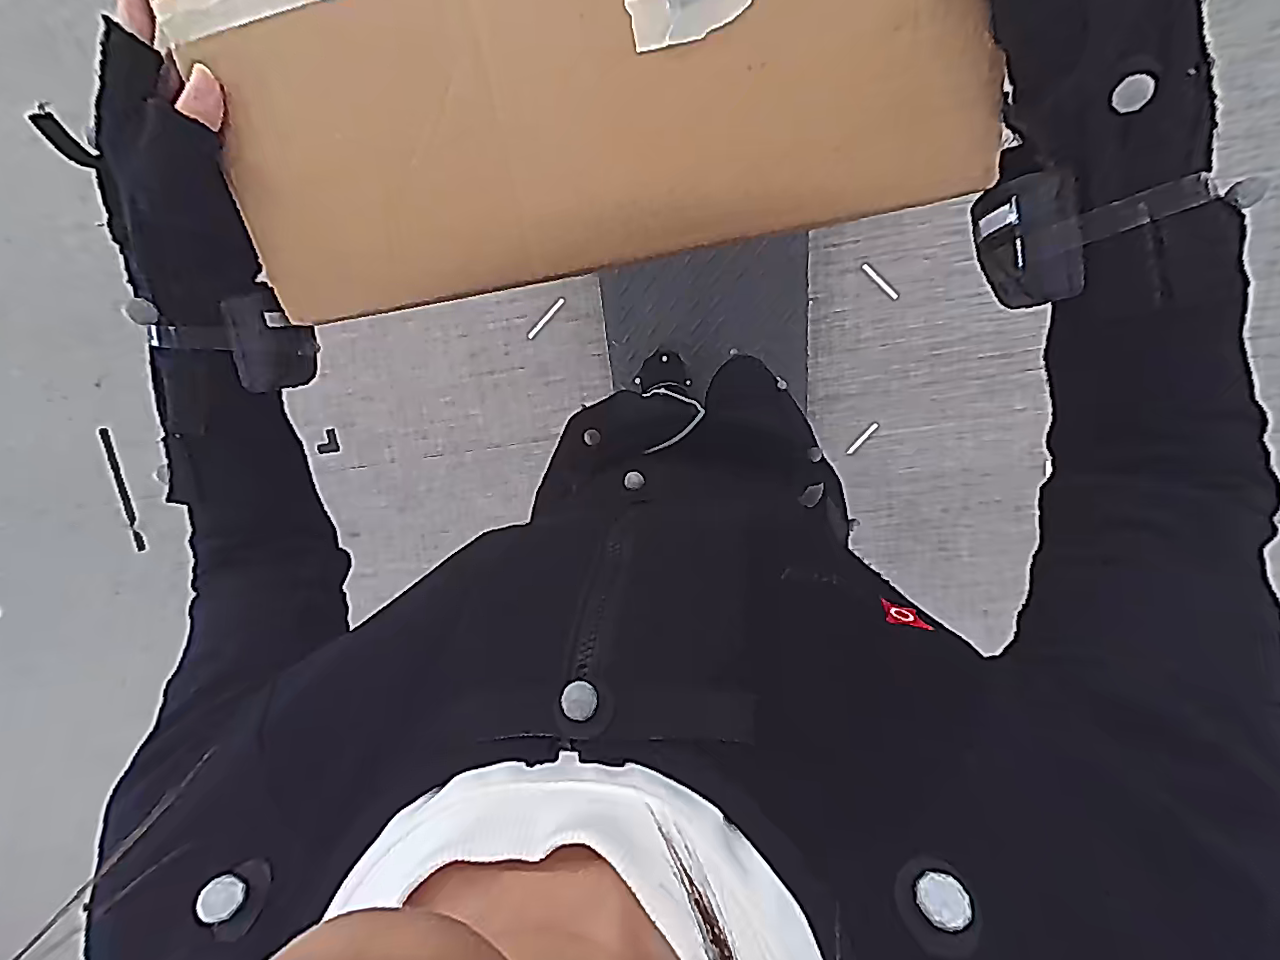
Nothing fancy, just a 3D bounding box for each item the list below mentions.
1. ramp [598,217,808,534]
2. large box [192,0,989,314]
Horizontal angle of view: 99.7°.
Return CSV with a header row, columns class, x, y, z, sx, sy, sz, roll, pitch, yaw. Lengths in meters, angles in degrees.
class,x,y,z,sx,sy,sz,roll,pitch,yaw
ramp,0.170,-0.316,1.348,0.509,0.206,0.991,-6,103,6
large box,-0.030,-0.330,0.394,0.408,0.320,0.320,-8,113,10
